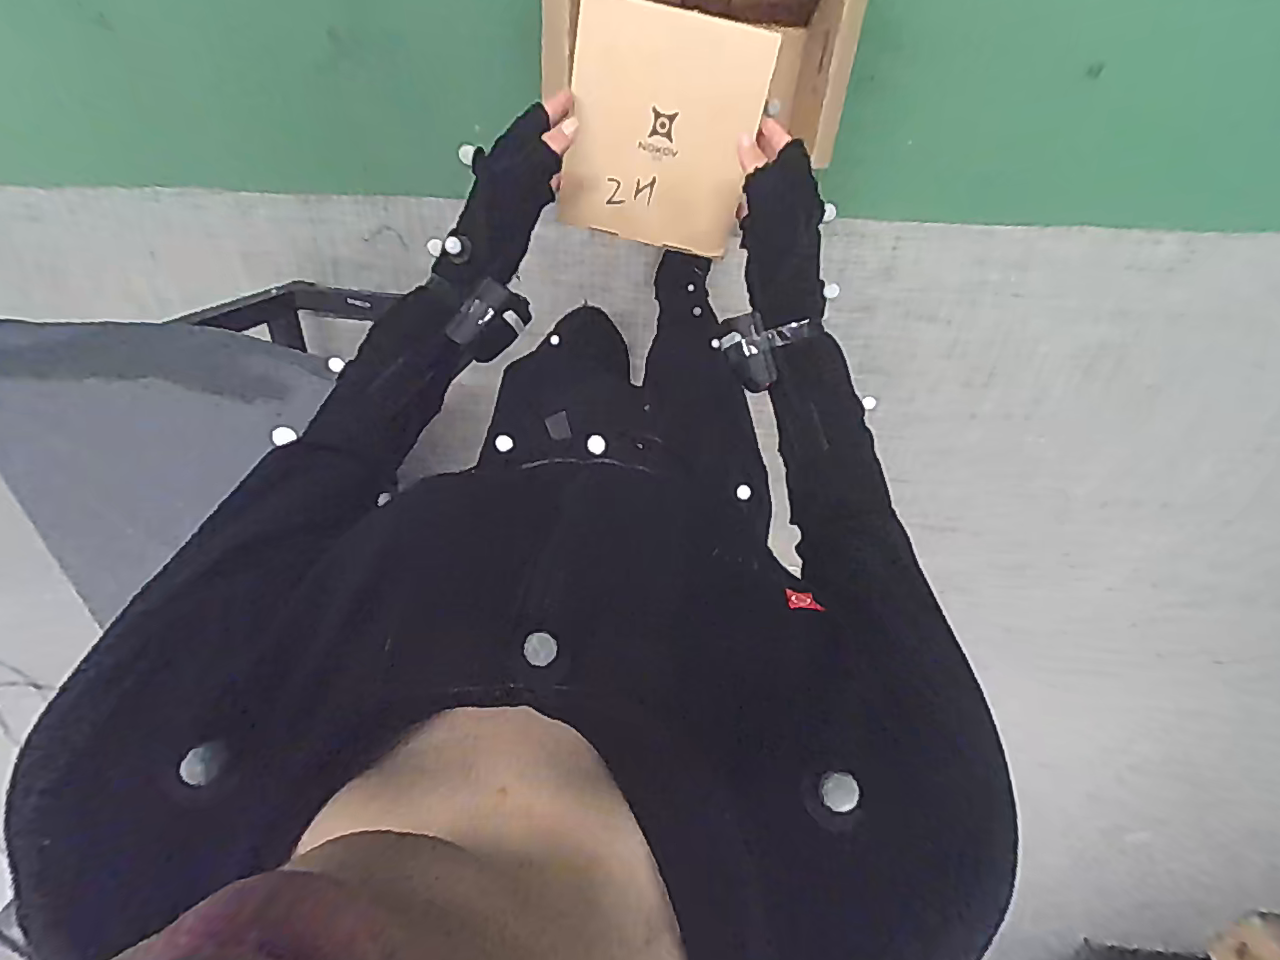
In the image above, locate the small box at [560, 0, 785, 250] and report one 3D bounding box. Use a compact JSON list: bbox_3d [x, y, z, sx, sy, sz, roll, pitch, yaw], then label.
[{"bbox_3d":[0.028,-0.349,0.539,0.168,0.176,0.179,13,121,0],"label":"small box"}]
